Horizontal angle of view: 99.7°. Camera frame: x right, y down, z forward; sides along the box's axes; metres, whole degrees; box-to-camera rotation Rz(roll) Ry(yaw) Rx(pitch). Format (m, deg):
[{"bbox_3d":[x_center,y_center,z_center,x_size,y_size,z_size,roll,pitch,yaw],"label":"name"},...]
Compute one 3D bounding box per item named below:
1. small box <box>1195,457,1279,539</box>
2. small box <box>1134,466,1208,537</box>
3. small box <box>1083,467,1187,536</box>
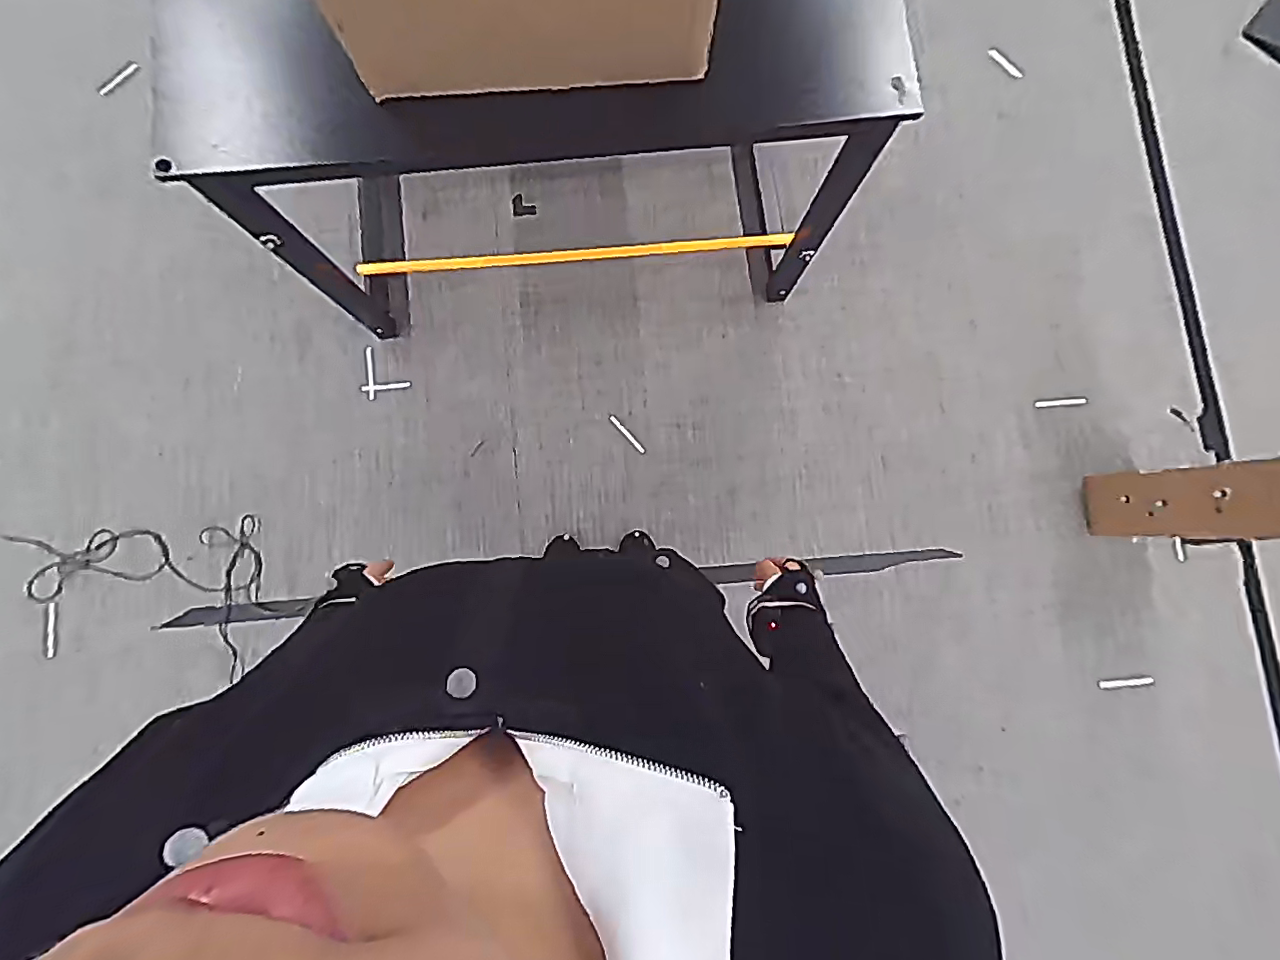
[{"bbox_3d":[1.357,0.039,1.150,0.179,0.176,0.168,-2,84,-1],"label":"small box"},{"bbox_3d":[1.366,0.054,1.312,0.179,0.176,0.168,-2,84,-1],"label":"small box"},{"bbox_3d":[1.357,0.063,1.476,0.168,0.176,0.179,-2,85,-1],"label":"small box"}]
